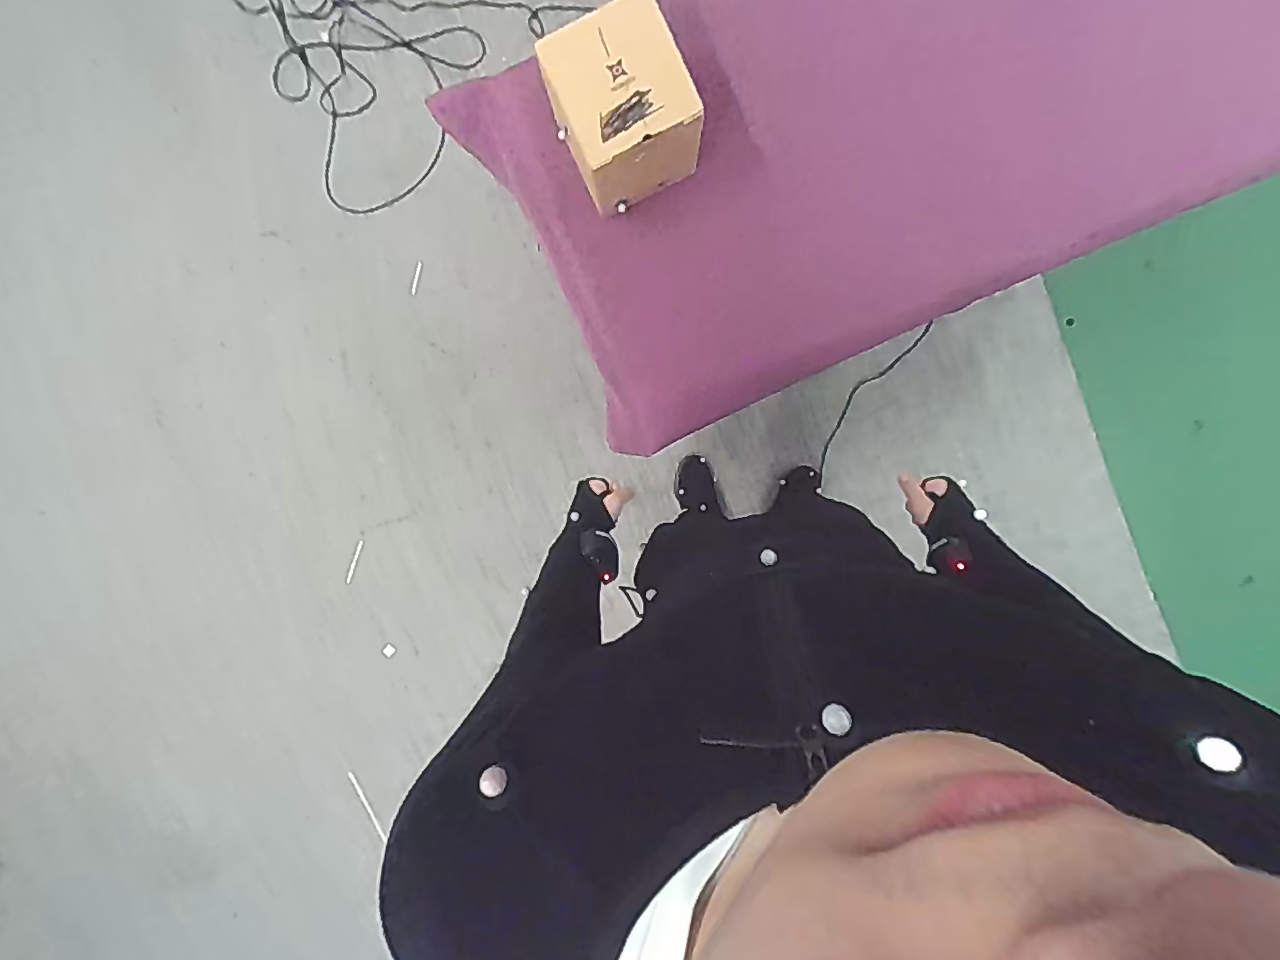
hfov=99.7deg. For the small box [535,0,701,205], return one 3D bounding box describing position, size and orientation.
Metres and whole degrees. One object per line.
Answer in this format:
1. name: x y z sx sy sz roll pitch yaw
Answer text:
1. small box: -0.025 -0.526 0.774 0.168 0.176 0.179 -25 93 3
